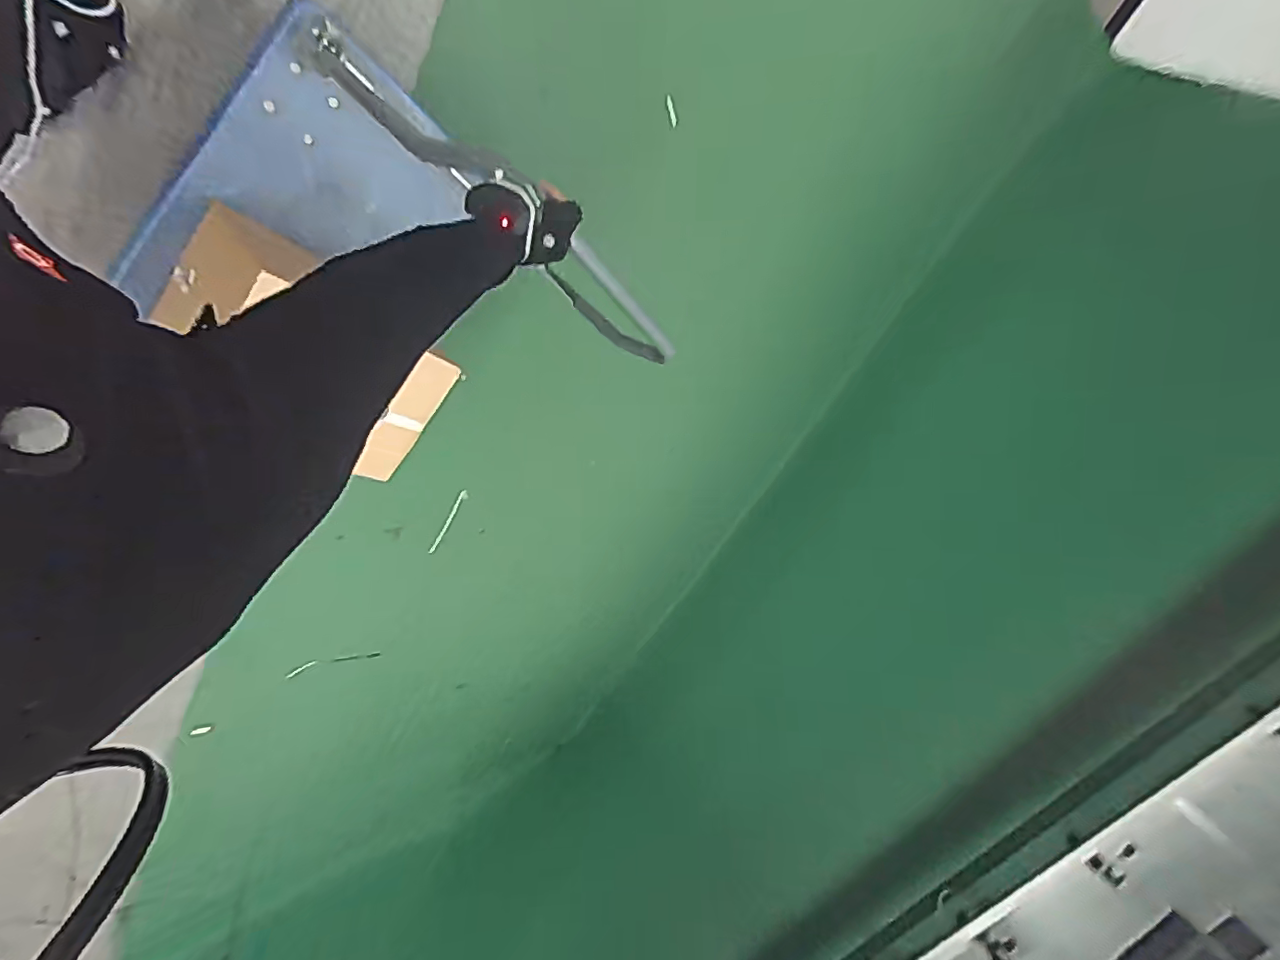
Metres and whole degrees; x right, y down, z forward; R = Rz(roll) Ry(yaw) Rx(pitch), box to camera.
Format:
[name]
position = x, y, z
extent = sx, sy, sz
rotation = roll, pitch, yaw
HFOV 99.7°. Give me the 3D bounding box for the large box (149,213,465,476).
[large box]
position = -0.656, -0.248, 1.091
extent = 0.320, 0.320, 0.408
rotation = -52, 150, 11
